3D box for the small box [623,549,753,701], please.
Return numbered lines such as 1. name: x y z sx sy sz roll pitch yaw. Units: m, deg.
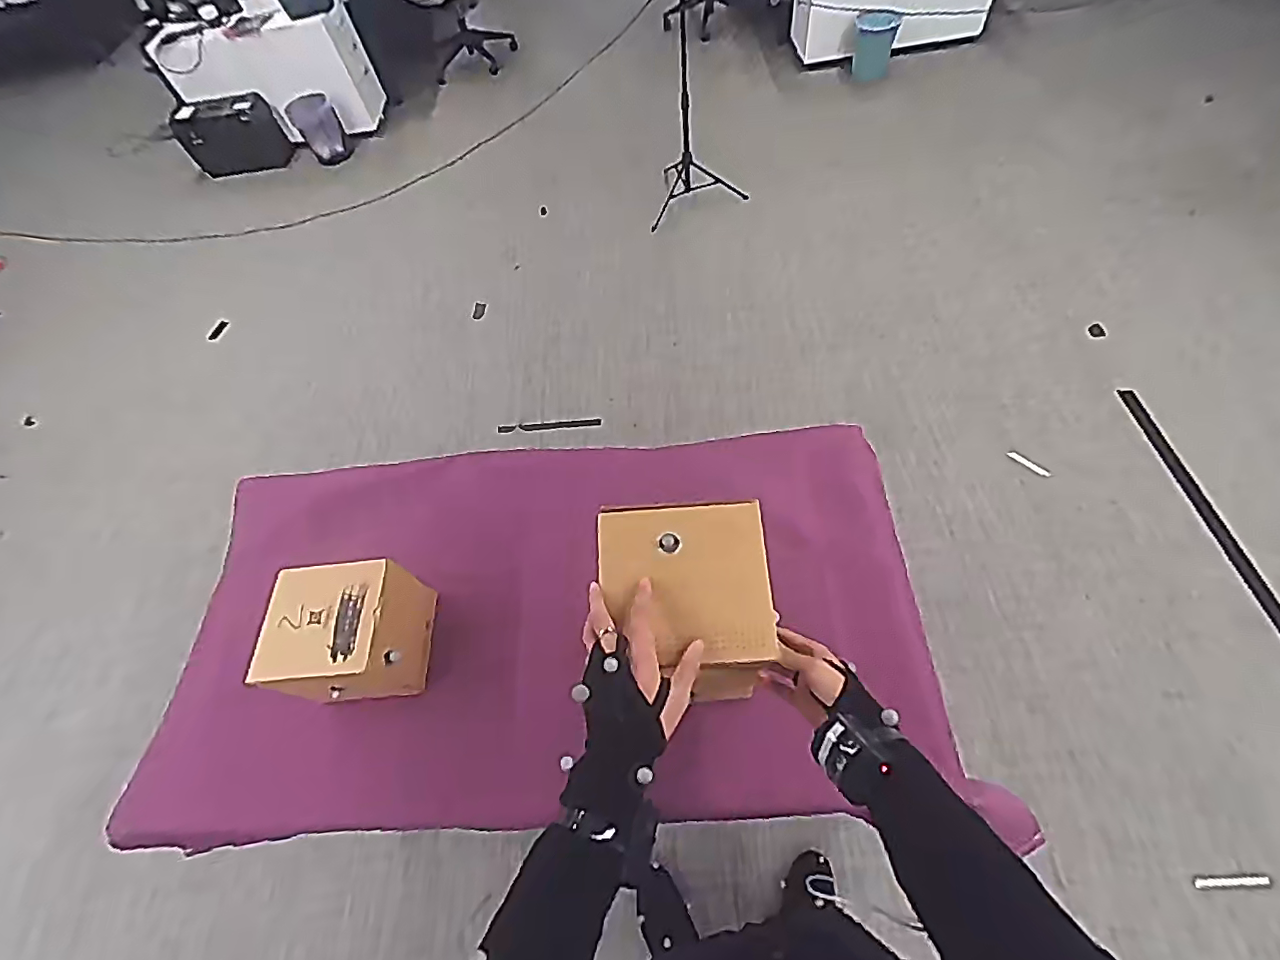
1. small box: 0.069 0.218 0.787 0.168 0.176 0.179 -5 58 4
